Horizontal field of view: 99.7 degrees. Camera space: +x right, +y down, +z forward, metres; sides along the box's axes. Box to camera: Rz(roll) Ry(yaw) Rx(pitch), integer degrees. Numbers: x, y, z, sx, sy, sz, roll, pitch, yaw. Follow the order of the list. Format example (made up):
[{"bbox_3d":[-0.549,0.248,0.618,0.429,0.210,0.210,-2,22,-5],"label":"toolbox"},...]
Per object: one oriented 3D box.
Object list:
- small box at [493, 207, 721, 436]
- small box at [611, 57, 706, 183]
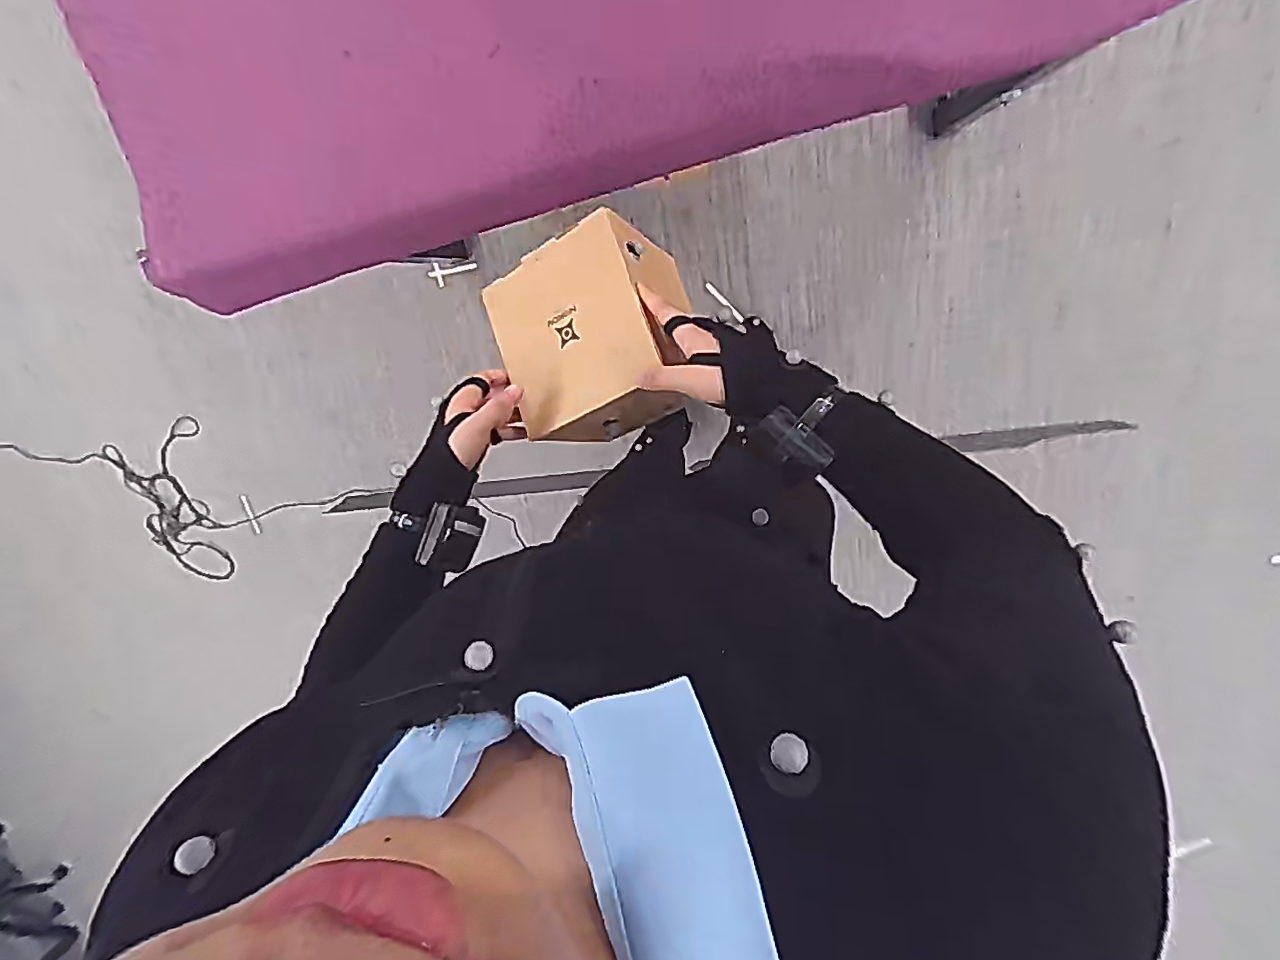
[{"bbox_3d":[-0.028,-0.157,0.608,0.168,0.176,0.179,-22,81,26],"label":"small box"},{"bbox_3d":[0.047,-0.735,1.129,0.168,0.176,0.179,-6,110,11],"label":"small box"}]
